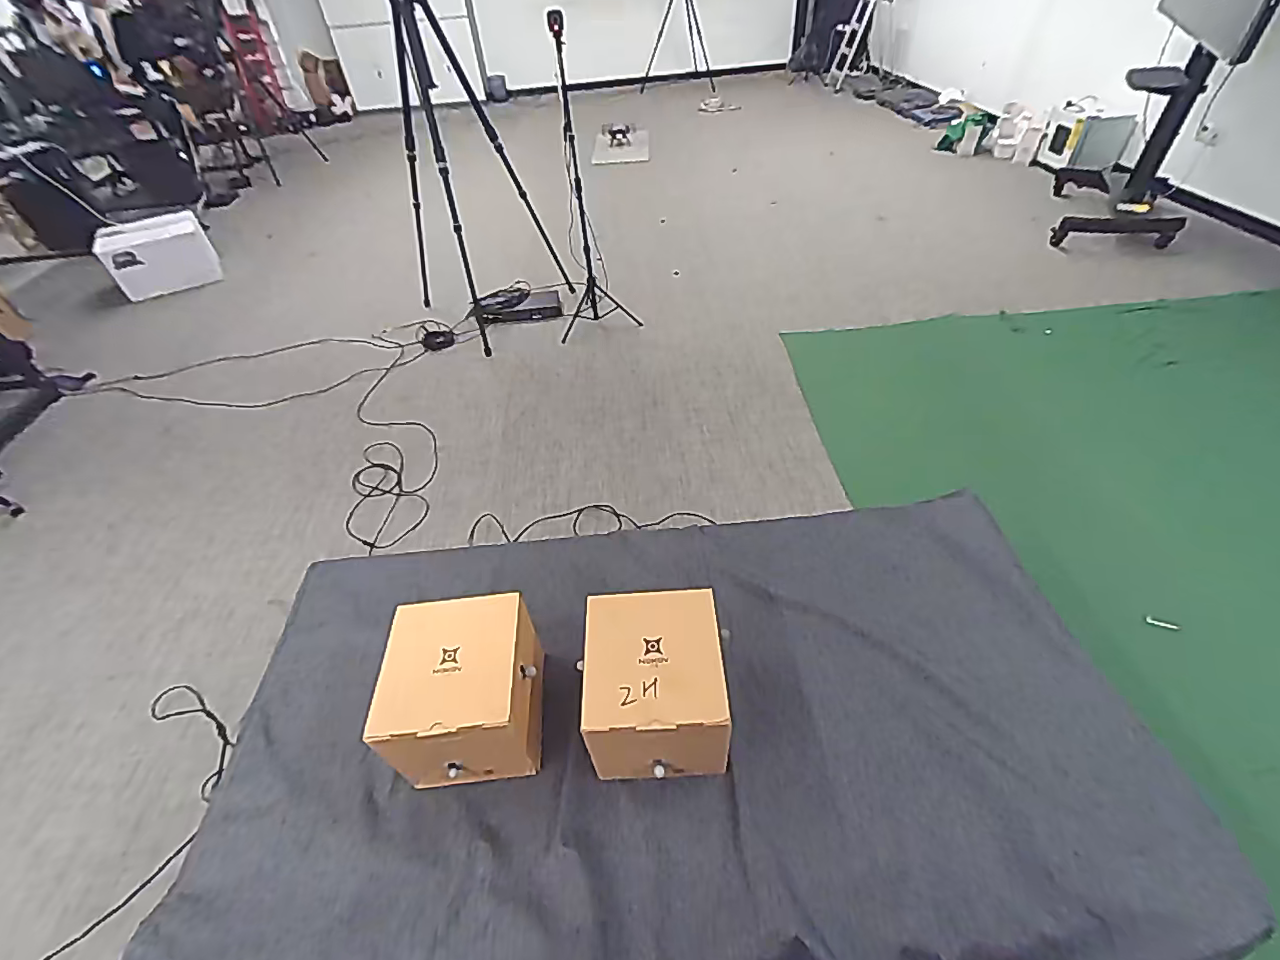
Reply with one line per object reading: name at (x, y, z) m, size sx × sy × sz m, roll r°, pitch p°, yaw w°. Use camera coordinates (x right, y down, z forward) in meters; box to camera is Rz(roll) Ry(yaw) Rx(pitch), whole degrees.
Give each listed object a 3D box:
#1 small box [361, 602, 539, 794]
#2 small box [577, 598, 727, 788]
small box at (-0.231, 0.286, 0.712) m, size 0.168 × 0.176 × 0.179 m, roll -6°, pitch 44°, yaw -1°
small box at (0.016, 0.275, 0.699) m, size 0.168 × 0.176 × 0.179 m, roll -3°, pitch 44°, yaw 2°
